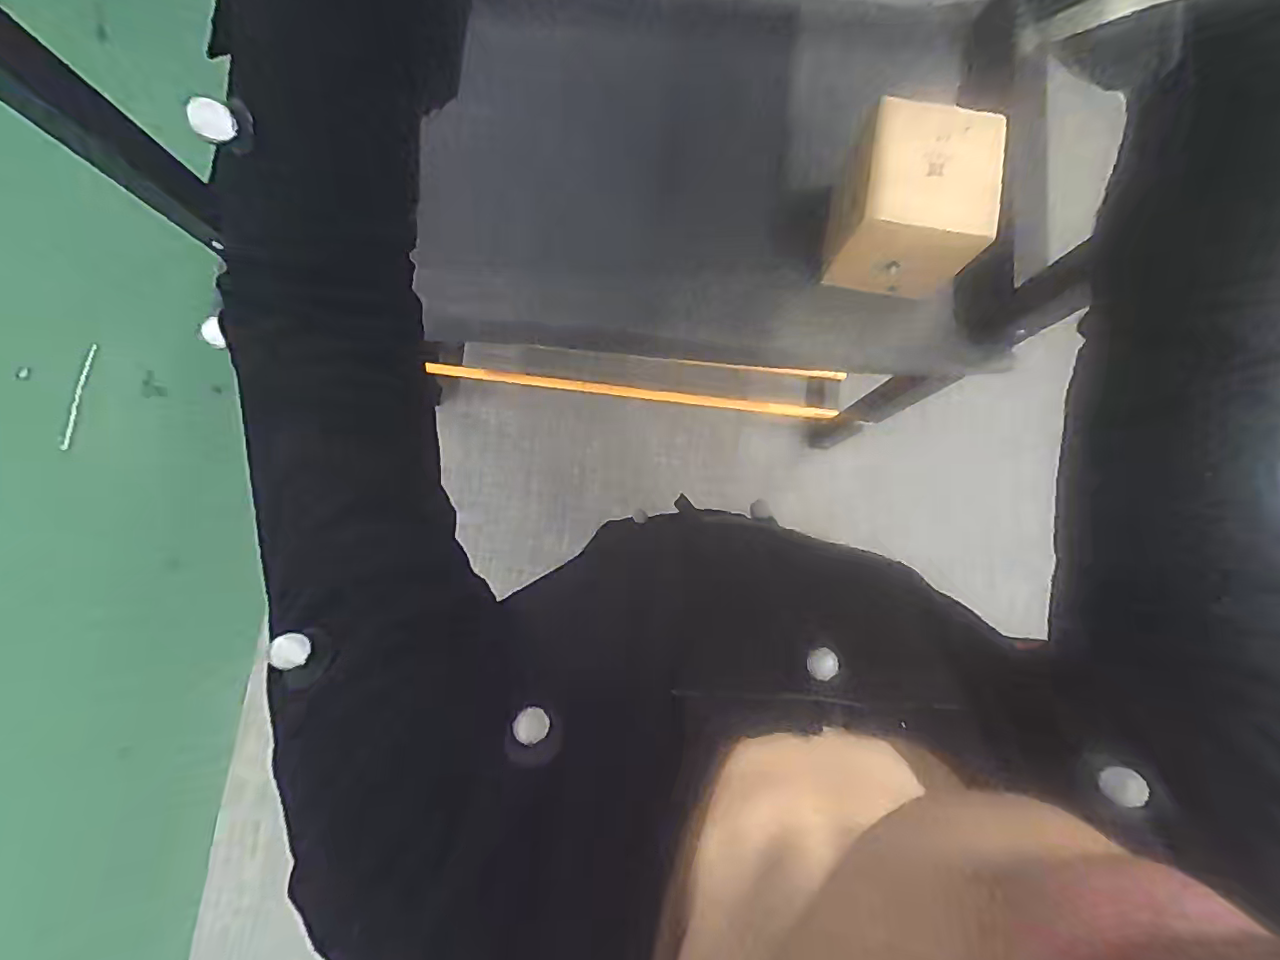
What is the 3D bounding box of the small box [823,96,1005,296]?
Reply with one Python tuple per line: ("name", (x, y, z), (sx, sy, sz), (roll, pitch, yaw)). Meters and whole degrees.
("small box", (0.371, -0.384, 0.760), (0.168, 0.176, 0.179), (10, 82, 1))
